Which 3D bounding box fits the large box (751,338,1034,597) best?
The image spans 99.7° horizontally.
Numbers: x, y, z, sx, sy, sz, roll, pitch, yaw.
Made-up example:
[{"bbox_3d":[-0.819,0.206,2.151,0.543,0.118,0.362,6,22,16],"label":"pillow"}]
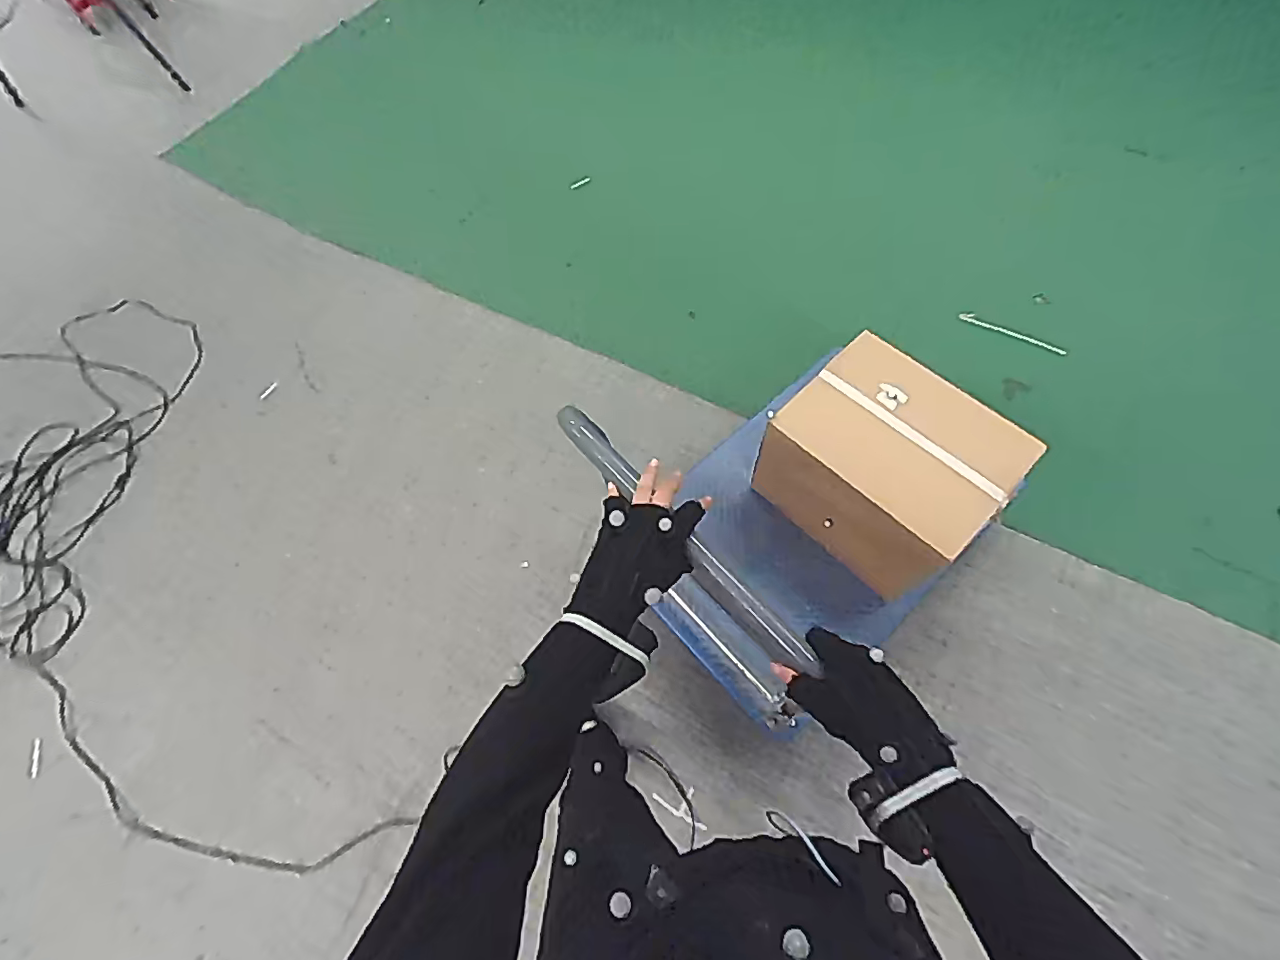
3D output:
[{"bbox_3d":[0.503,-0.018,1.168,0.320,0.320,0.408,-42,68,-15],"label":"large box"}]
